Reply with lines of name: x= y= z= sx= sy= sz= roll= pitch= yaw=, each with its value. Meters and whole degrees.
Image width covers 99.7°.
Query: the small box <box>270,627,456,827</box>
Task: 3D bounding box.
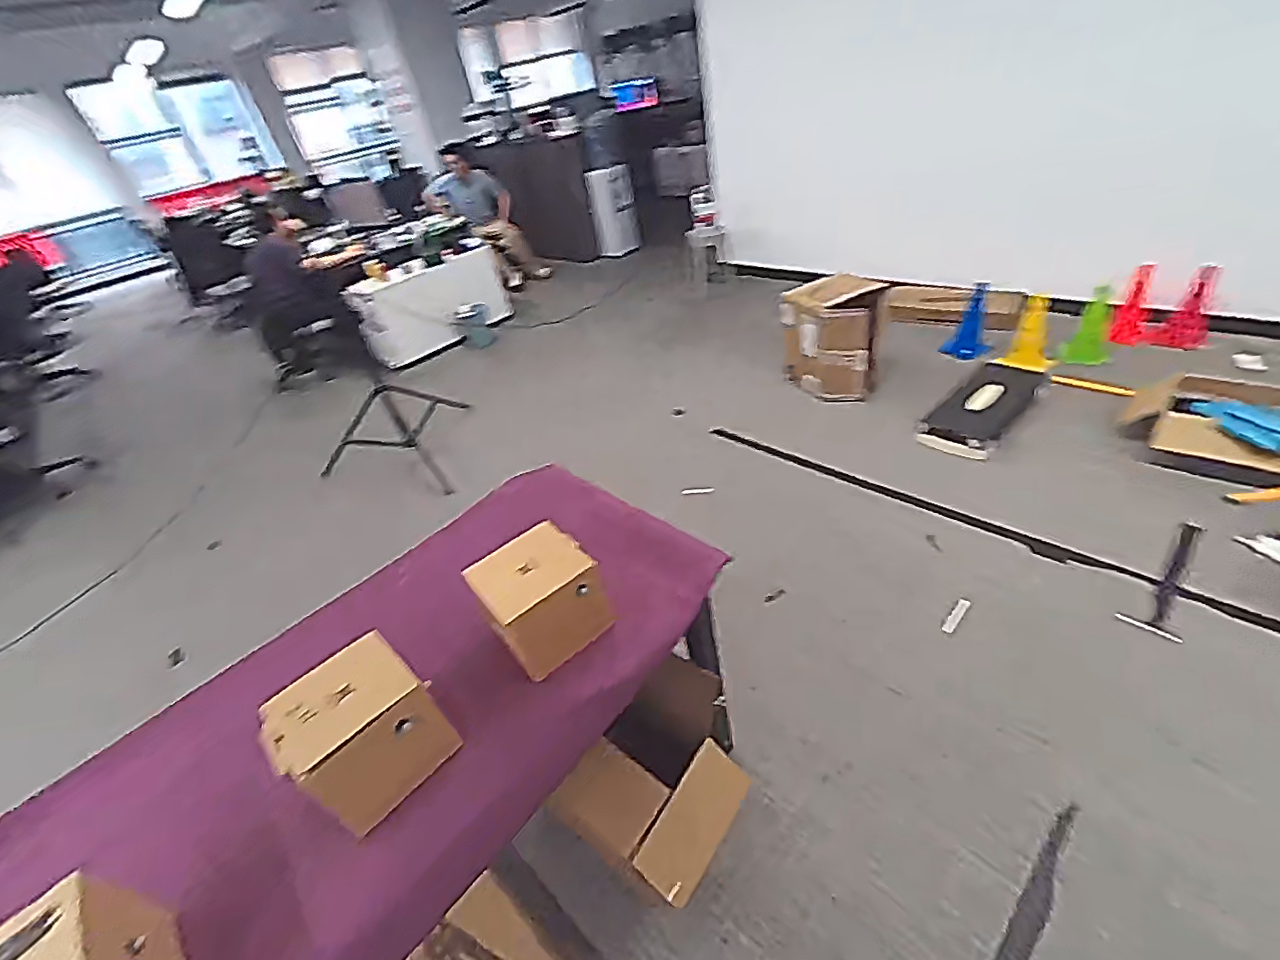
small box: x=-0.403 y=0.367 z=0.816 sx=0.168 sy=0.176 sz=0.179 roll=22 pitch=49 yaw=40

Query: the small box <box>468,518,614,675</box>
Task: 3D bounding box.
small box: x=-0.169 y=0.206 z=0.960 sx=0.179 sy=0.176 sz=0.168 roll=-33 pitch=41 yaw=-25
